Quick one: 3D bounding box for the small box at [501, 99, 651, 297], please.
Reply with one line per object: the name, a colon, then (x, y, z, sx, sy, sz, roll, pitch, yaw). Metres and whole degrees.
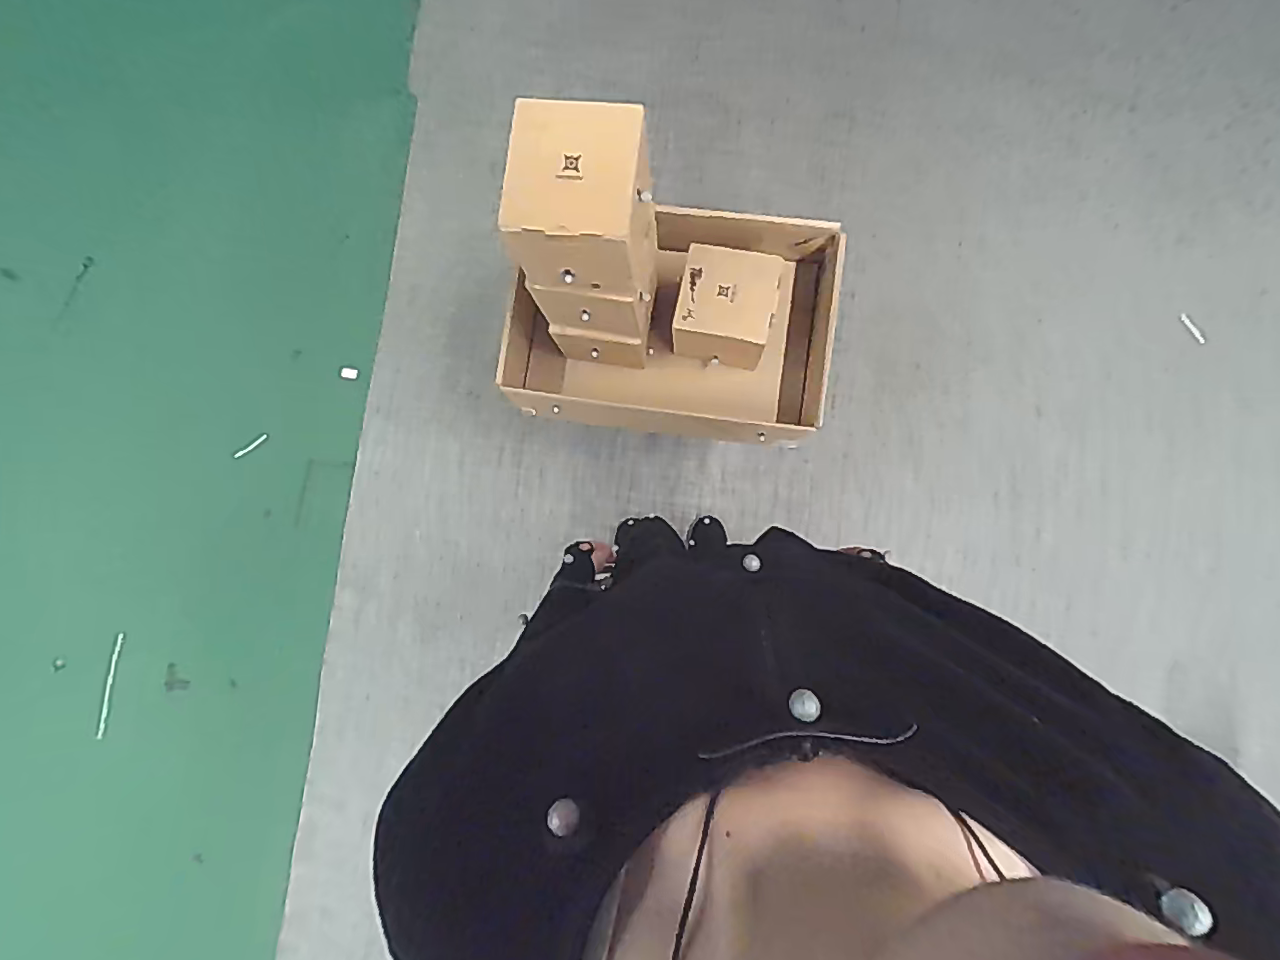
small box: (-0.076, -0.379, 0.750, 0.168, 0.176, 0.179, 7, 86, 5)
